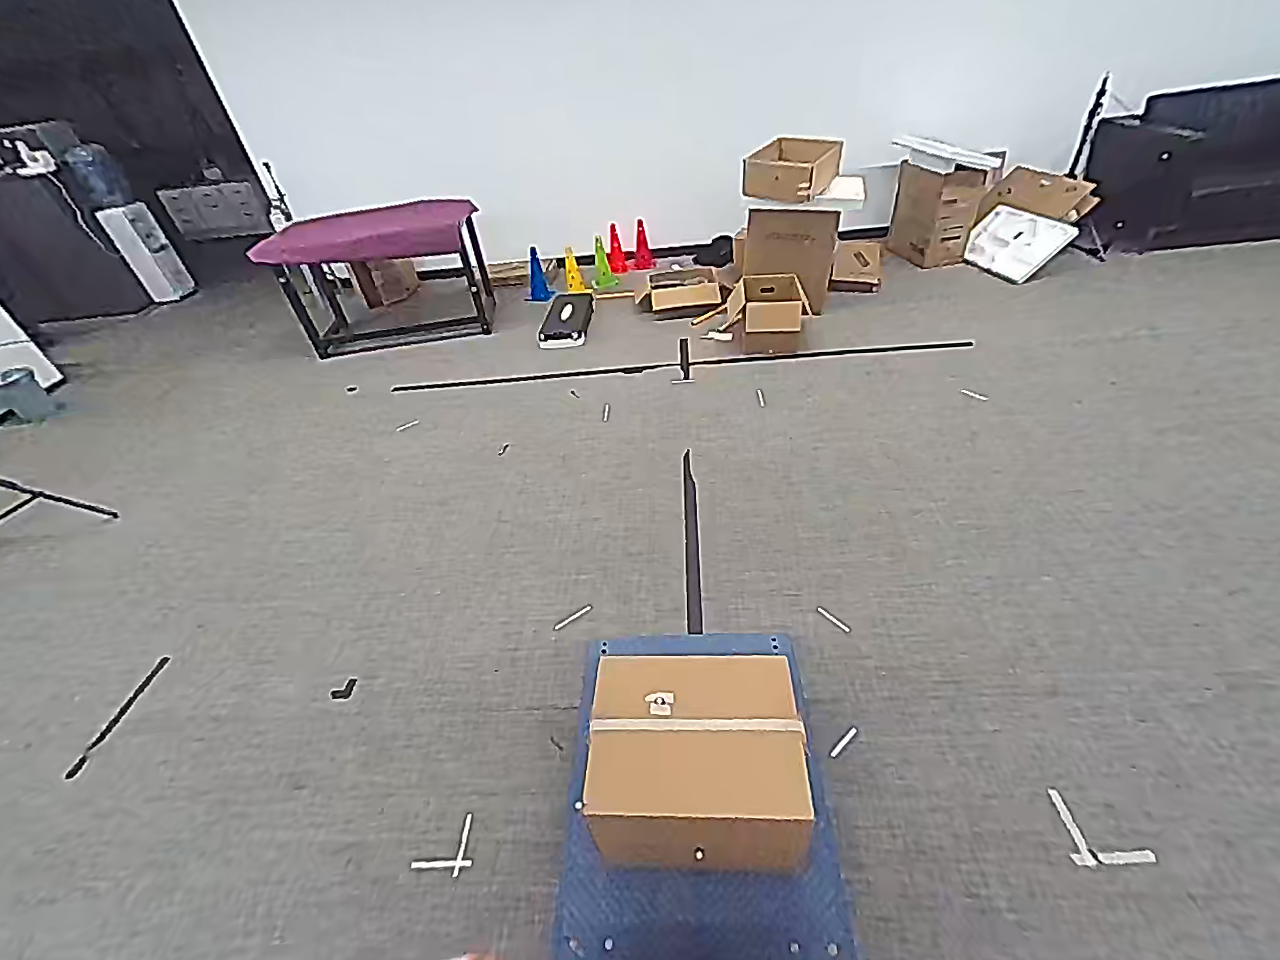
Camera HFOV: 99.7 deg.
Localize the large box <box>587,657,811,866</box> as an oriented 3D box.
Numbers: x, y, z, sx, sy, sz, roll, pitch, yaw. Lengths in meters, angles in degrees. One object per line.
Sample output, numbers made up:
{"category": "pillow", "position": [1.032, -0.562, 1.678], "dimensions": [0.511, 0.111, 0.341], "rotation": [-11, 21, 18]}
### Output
{"category": "large box", "position": [0.124, 0.605, 1.160], "dimensions": [0.408, 0.320, 0.320], "rotation": [-4, 39, 6]}
